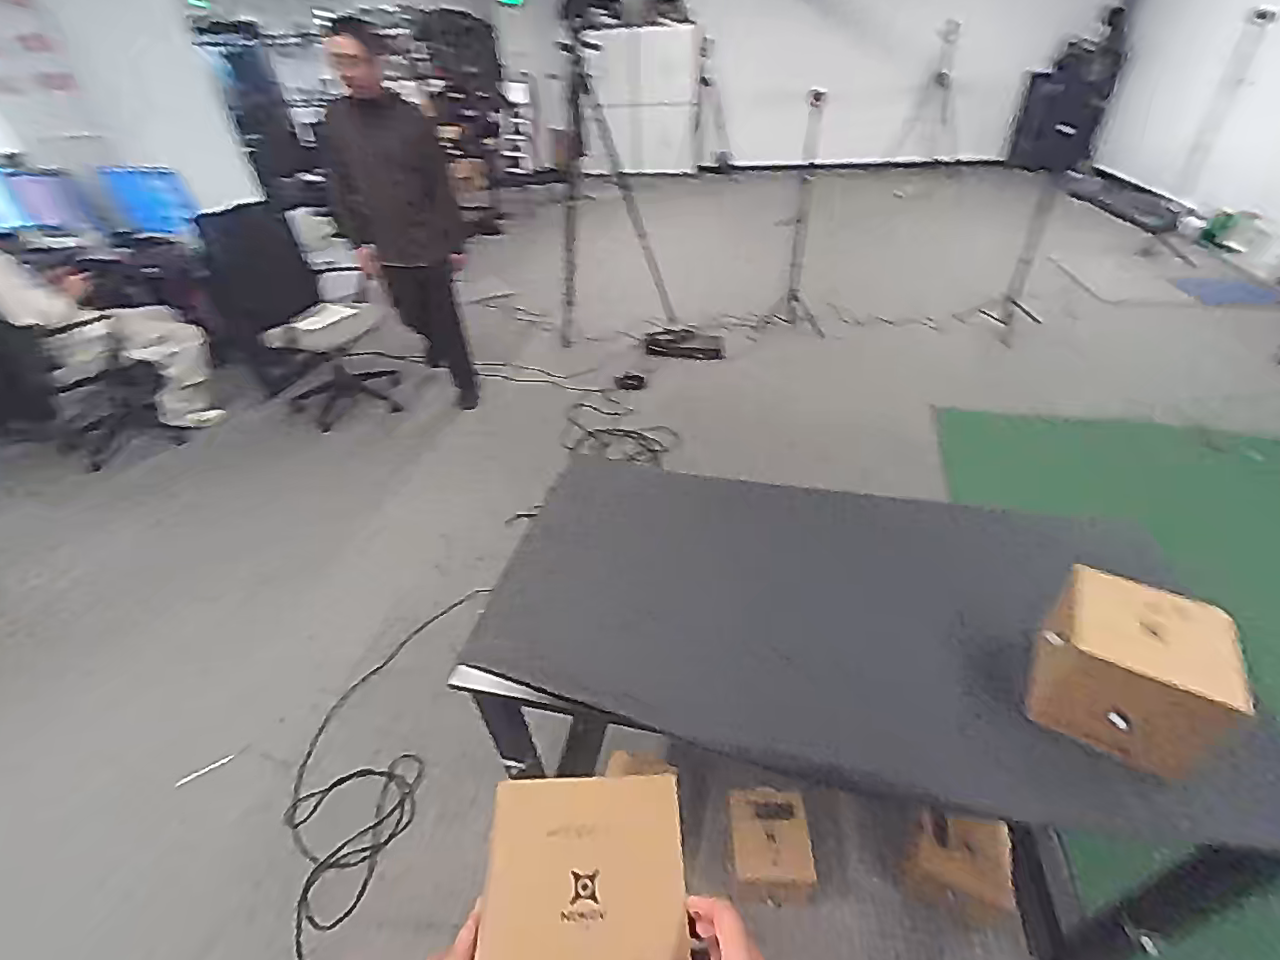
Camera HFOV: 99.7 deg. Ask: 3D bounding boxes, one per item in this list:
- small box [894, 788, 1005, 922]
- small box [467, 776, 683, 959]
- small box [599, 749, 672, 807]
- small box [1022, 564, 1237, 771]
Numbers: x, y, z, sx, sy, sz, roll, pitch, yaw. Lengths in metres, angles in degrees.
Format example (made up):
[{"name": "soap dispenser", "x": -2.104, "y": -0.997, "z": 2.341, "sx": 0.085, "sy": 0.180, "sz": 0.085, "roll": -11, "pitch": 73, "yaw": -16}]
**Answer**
[{"name": "small box", "x": 0.678, "y": 0.832, "z": 1.196, "sx": 0.179, "sy": 0.176, "sz": 0.168, "roll": 16, "pitch": 43, "yaw": 21}, {"name": "small box", "x": -0.053, "y": 0.392, "z": 0.488, "sx": 0.168, "sy": 0.176, "sz": 0.179, "roll": 0, "pitch": 43, "yaw": -4}, {"name": "small box", "x": -0.019, "y": 0.794, "z": 1.310, "sx": 0.168, "sy": 0.176, "sz": 0.179, "roll": 8, "pitch": 39, "yaw": 16}, {"name": "small box", "x": 0.655, "y": 0.256, "z": 0.746, "sx": 0.168, "sy": 0.176, "sz": 0.179, "roll": 20, "pitch": 42, "yaw": 28}]
